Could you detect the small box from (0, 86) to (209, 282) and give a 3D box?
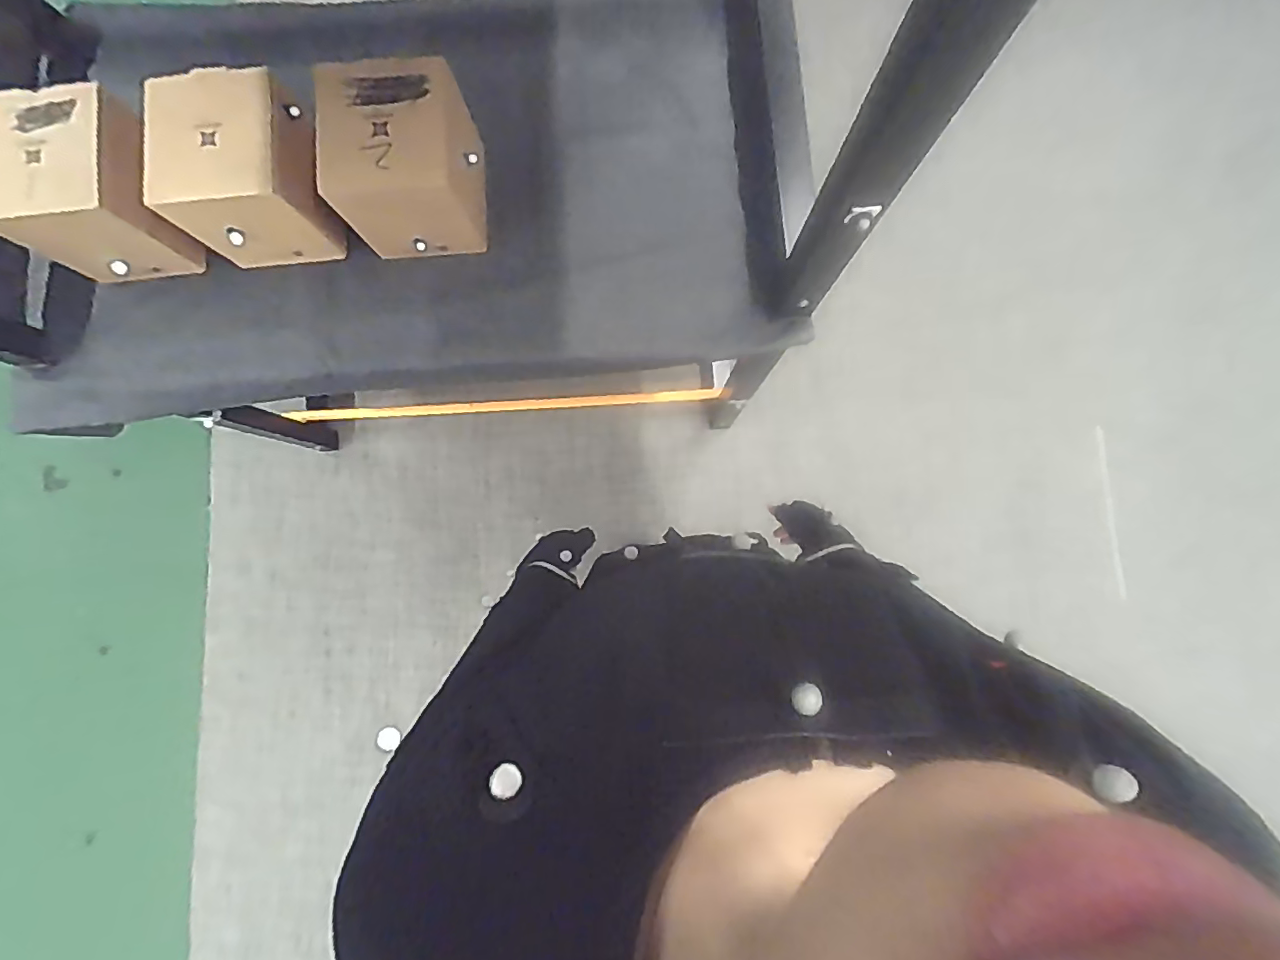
[{"bbox_3d":[-0.754,-0.406,0.765,0.168,0.176,0.179,-6,84,1],"label":"small box"}]
